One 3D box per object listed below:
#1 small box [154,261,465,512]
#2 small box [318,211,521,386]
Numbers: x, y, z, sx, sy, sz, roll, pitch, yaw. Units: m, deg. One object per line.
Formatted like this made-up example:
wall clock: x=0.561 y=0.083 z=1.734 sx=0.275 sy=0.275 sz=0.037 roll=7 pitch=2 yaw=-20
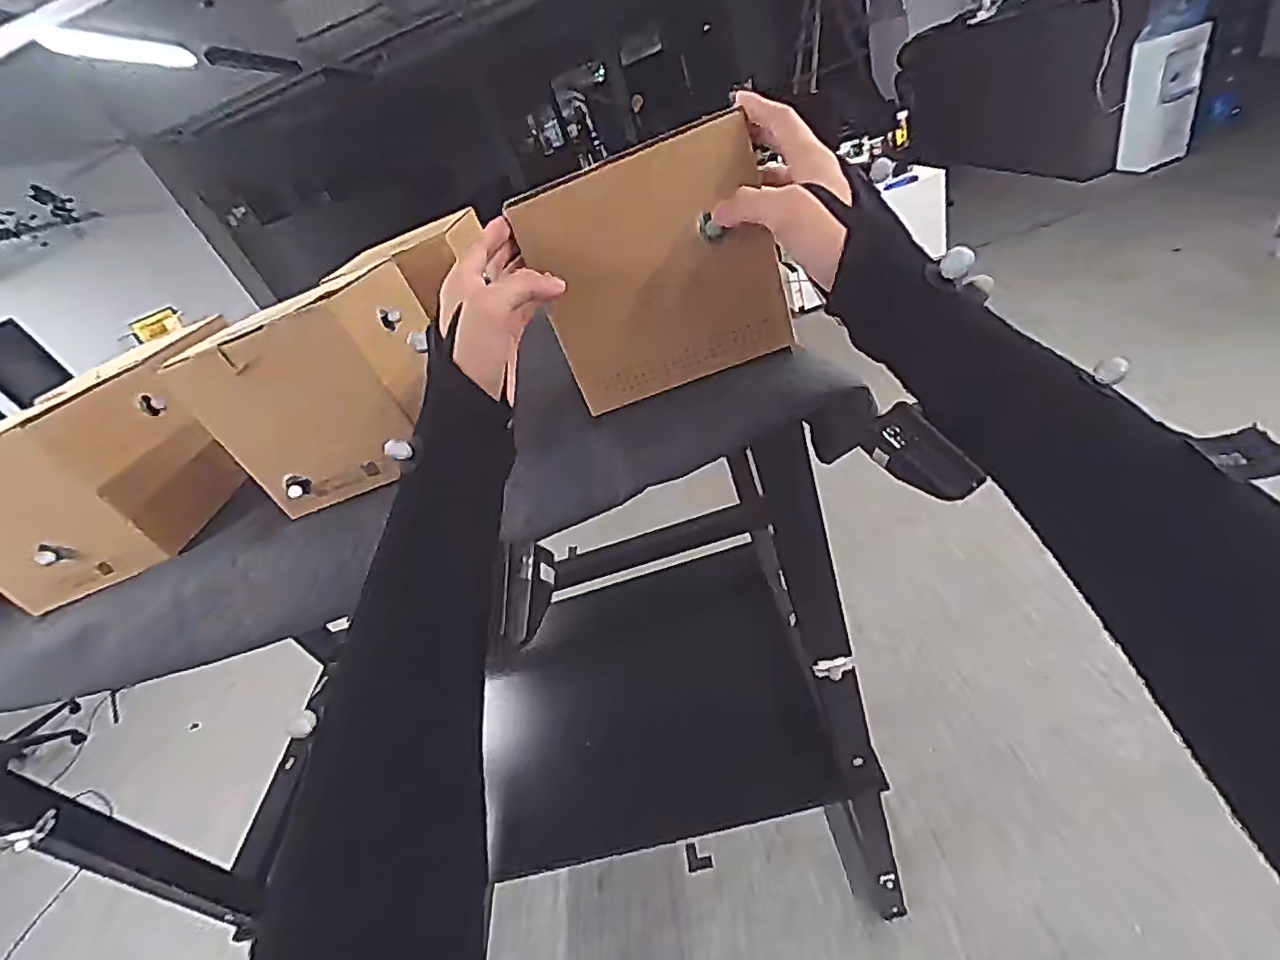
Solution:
small box: x=-0.297 y=-0.088 z=0.538 sx=0.168 sy=0.176 sz=0.179 roll=-20 pitch=32 yaw=7
small box: x=-0.272 y=-0.229 z=0.718 sx=0.168 sy=0.176 sz=0.179 roll=-19 pitch=35 yaw=8
